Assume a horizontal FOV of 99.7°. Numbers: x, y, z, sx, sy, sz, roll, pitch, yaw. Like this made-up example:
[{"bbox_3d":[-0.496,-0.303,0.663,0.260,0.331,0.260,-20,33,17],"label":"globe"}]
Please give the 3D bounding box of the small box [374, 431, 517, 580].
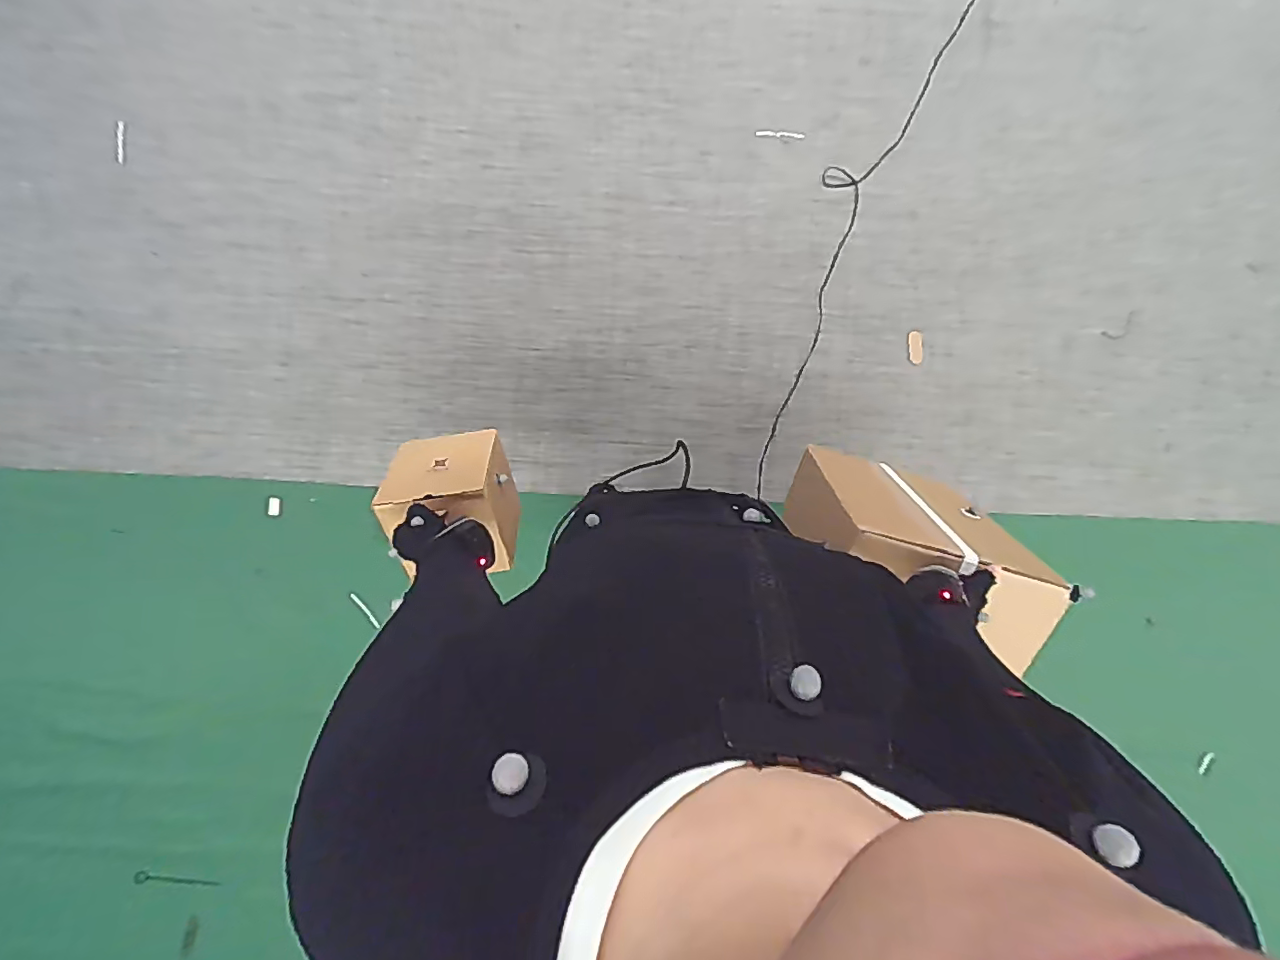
[{"bbox_3d":[-0.309,0.041,0.902,0.168,0.179,0.176,-8,127,-1],"label":"small box"}]
